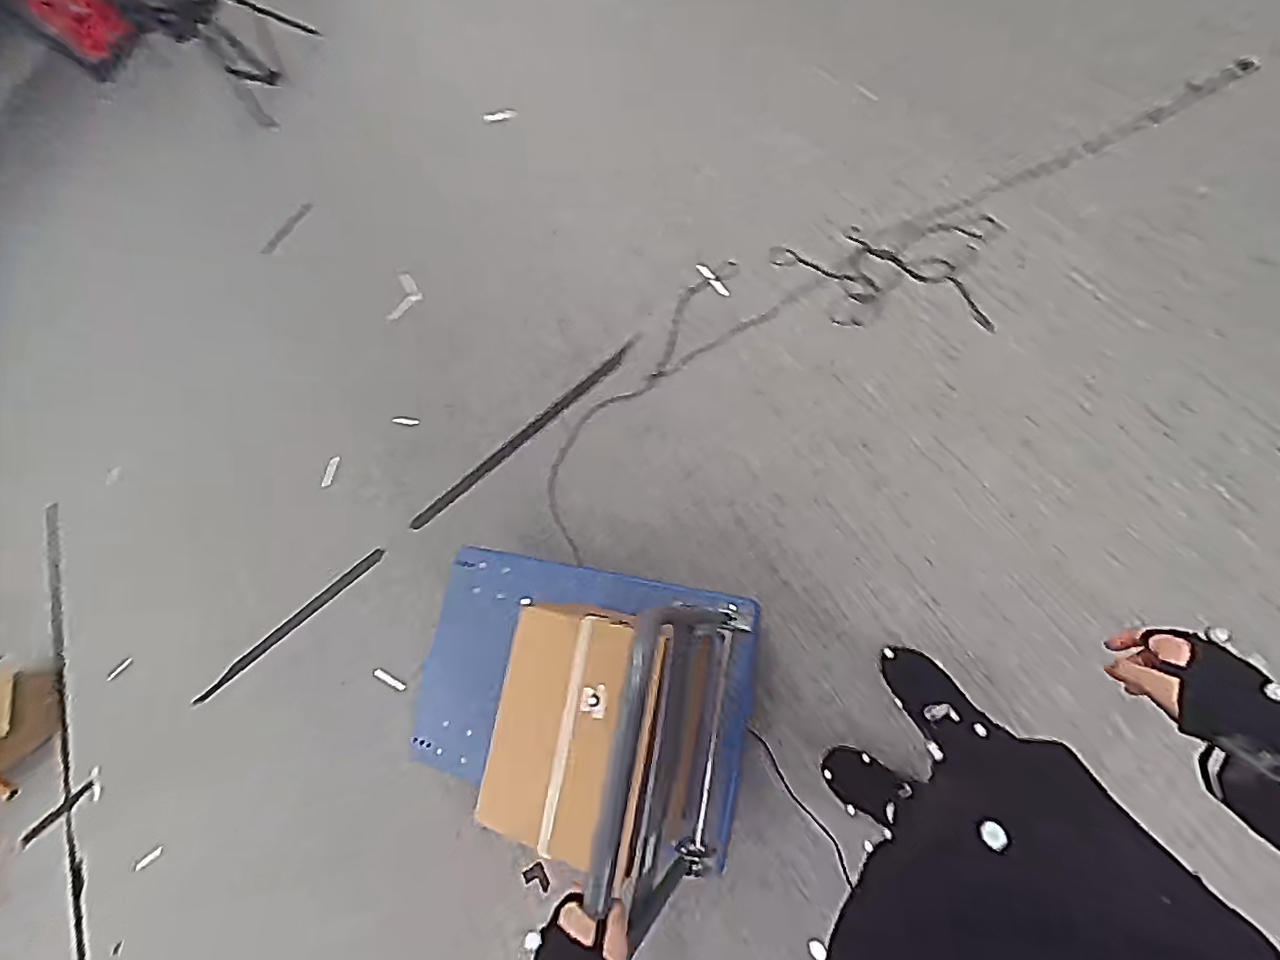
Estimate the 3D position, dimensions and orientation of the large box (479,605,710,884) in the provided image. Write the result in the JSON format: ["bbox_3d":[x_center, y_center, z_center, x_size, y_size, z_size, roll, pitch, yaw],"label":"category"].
[{"bbox_3d":[-0.071,0.493,1.109,0.320,0.320,0.408,7,78,24],"label":"large box"}]
